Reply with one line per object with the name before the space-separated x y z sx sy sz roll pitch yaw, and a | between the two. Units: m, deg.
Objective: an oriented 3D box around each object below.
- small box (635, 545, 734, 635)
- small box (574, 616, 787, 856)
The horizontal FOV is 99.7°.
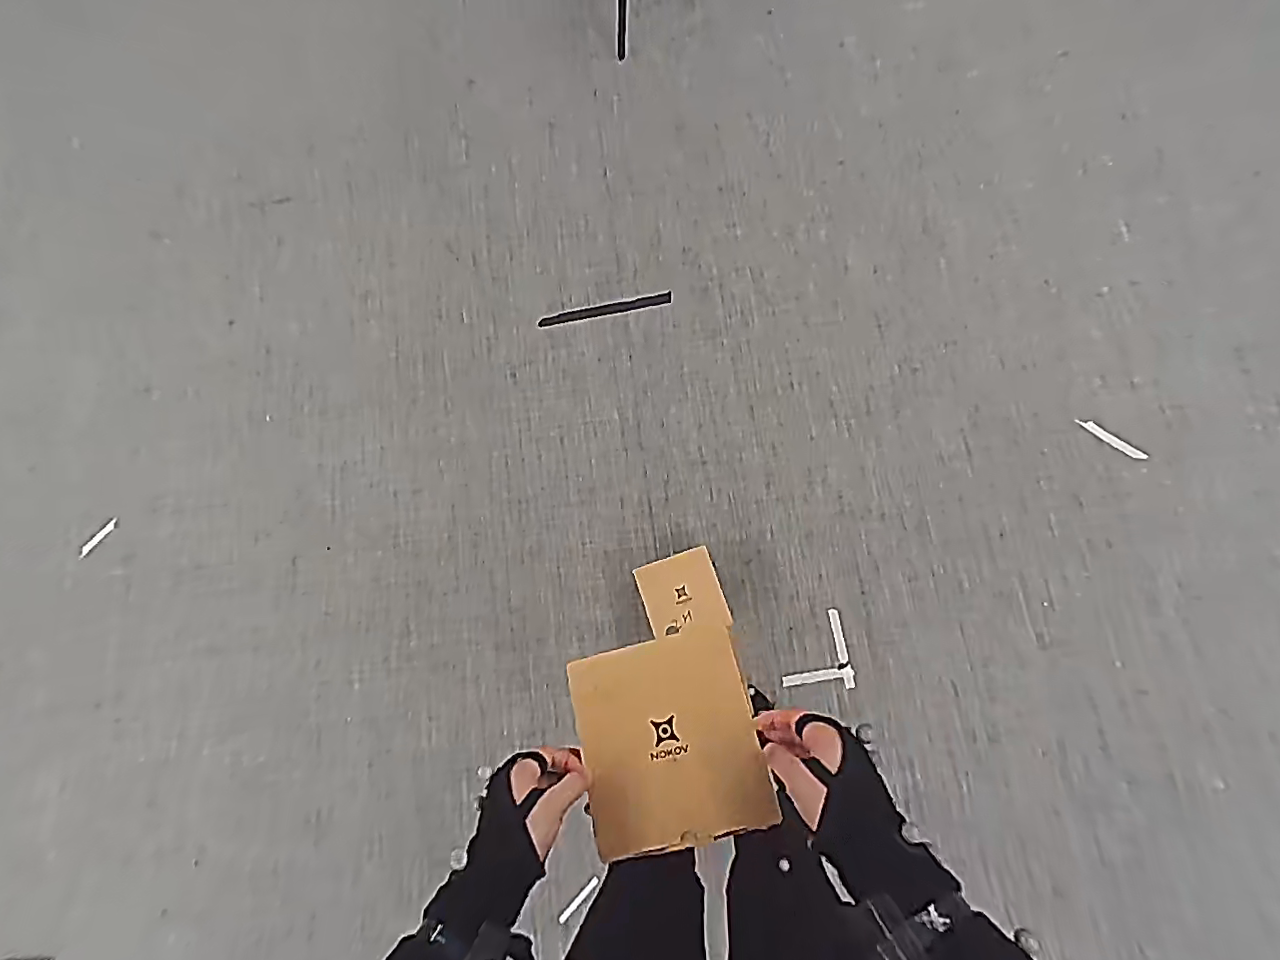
small box | 0.097 0.259 1.201 0.168 0.176 0.179 -20 77 3
small box | 0.041 0.258 0.572 0.168 0.176 0.179 -16 69 4
